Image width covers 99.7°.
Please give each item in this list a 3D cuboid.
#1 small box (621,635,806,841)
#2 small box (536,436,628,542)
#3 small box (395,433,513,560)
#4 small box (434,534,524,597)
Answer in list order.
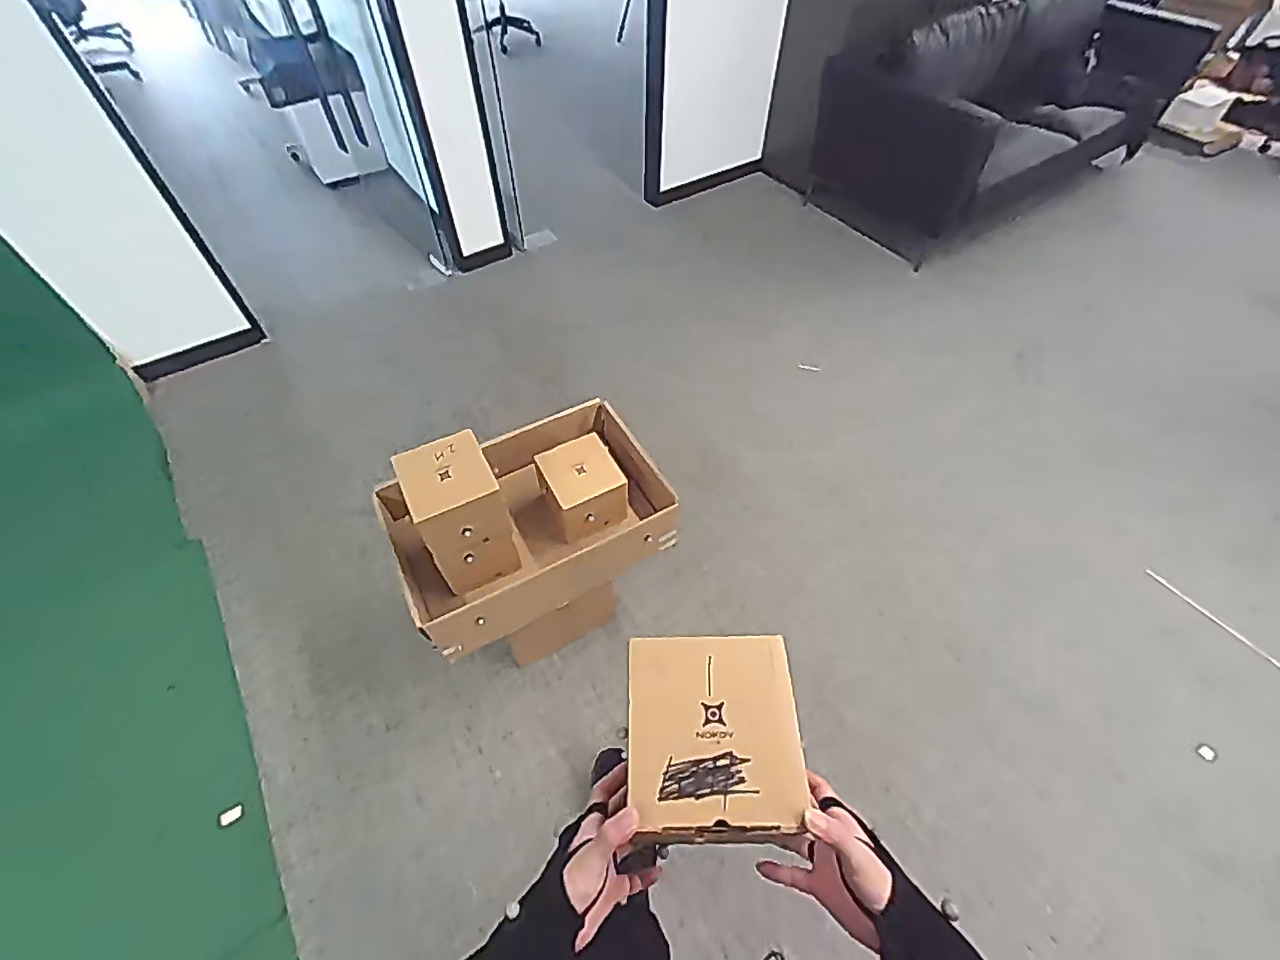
[{"bbox_3d":[0.070,0.284,0.588,0.168,0.176,0.179,-1,52,2],"label":"small box"},{"bbox_3d":[-0.135,0.030,1.323,0.168,0.176,0.179,-24,57,-17],"label":"small box"},{"bbox_3d":[-0.373,0.042,1.106,0.168,0.176,0.179,-23,57,-17],"label":"small box"},{"bbox_3d":[-0.380,0.135,1.241,0.168,0.176,0.179,-23,56,-15],"label":"small box"}]
